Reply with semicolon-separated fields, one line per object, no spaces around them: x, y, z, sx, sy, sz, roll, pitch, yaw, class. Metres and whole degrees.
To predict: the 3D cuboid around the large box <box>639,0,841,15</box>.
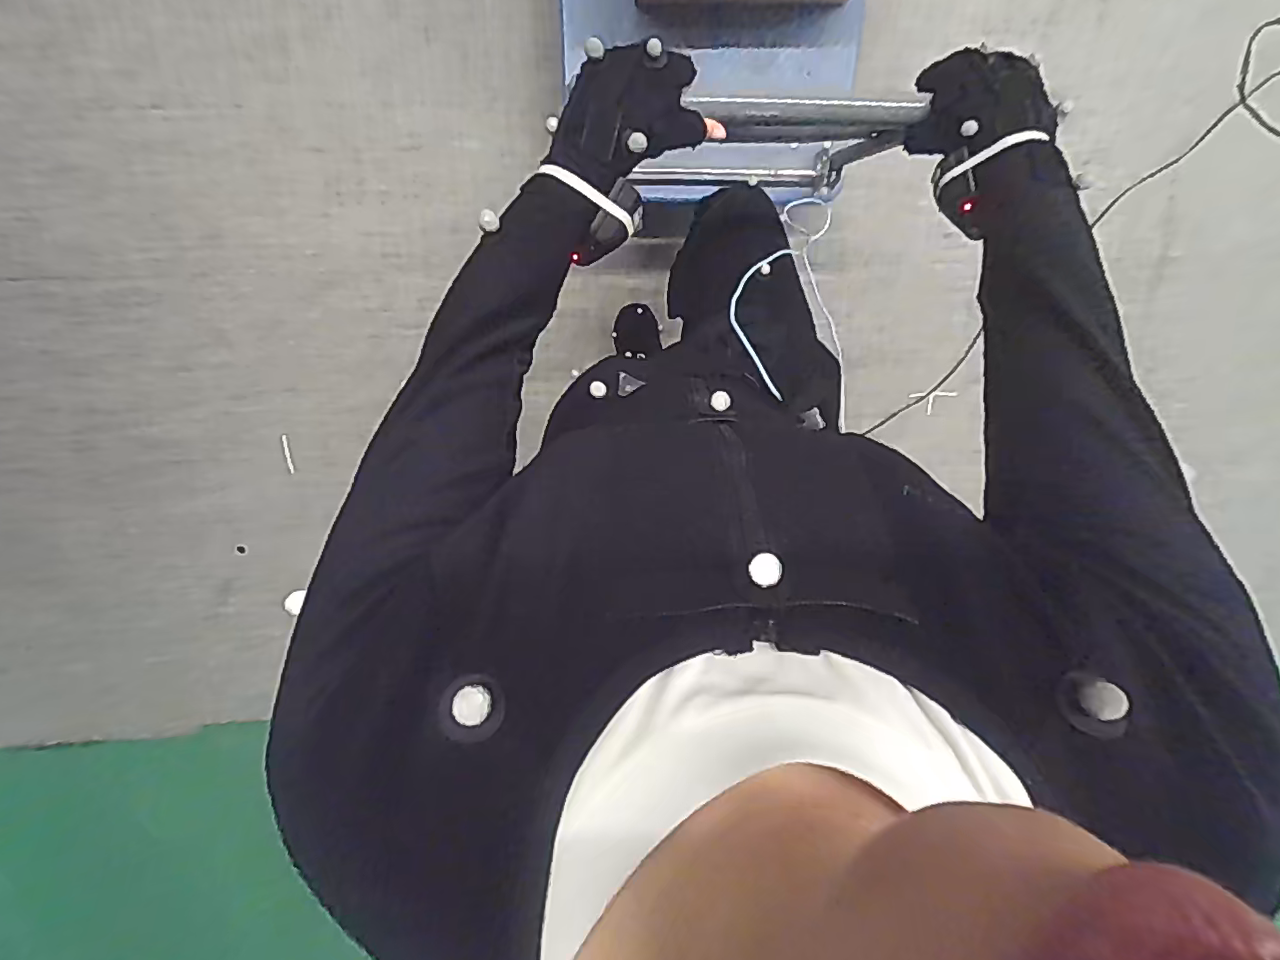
0.195;-0.990;0.843;0.408;0.320;0.320;-4;109;-1;large box
